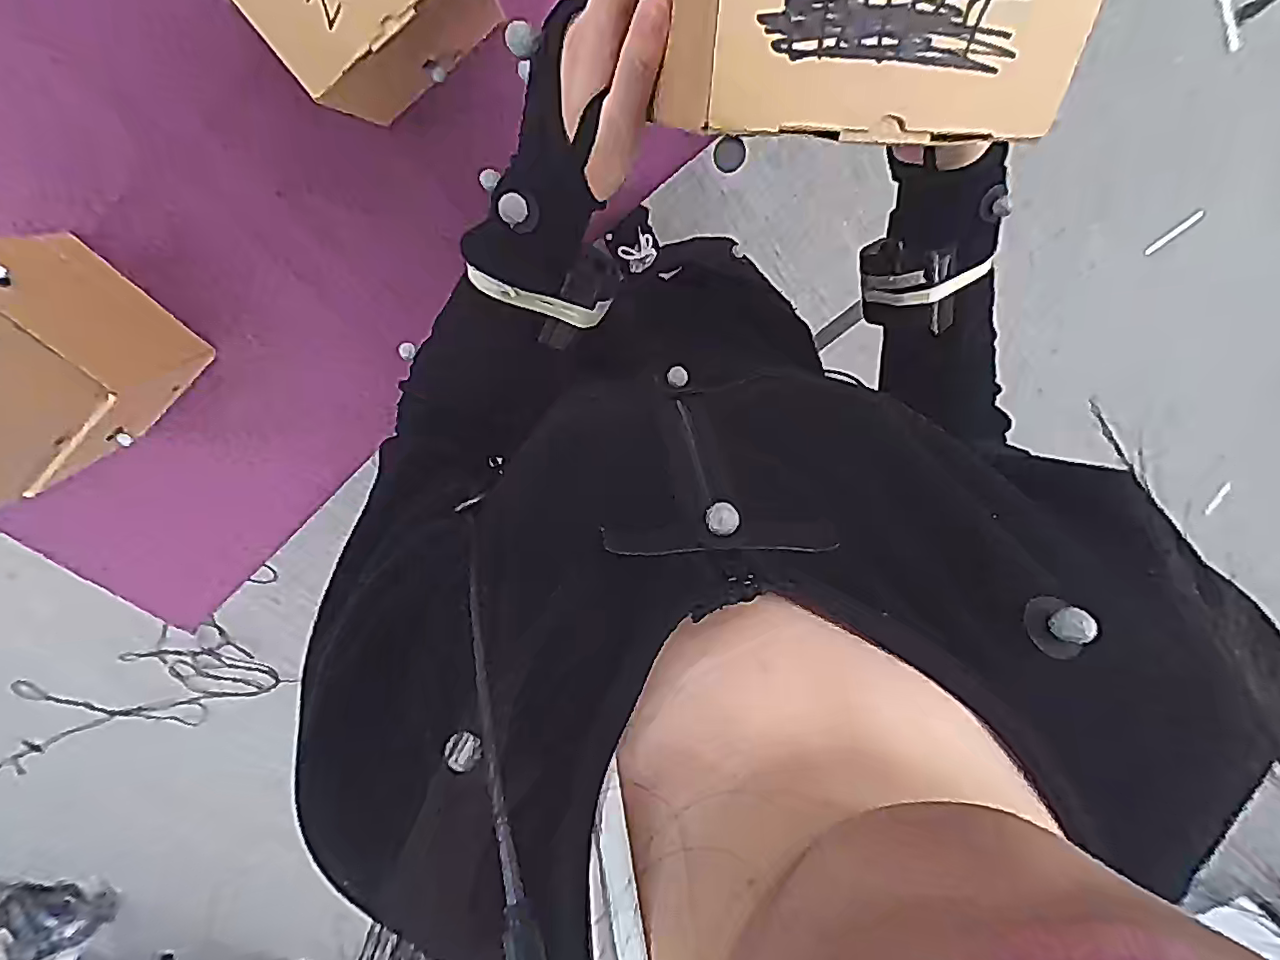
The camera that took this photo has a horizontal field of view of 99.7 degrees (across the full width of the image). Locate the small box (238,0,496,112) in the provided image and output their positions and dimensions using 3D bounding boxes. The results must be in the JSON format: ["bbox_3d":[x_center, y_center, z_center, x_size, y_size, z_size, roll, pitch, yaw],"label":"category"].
[{"bbox_3d":[-0.243,-0.441,0.438,0.168,0.176,0.179,-33,116,12],"label":"small box"}]

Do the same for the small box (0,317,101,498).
[{"bbox_3d":[-0.605,-0.056,0.416,0.168,0.176,0.179,-38,114,14],"label":"small box"}]

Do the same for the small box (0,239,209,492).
[{"bbox_3d":[-0.616,-0.127,0.564,0.168,0.176,0.179,-38,115,13],"label":"small box"}]
